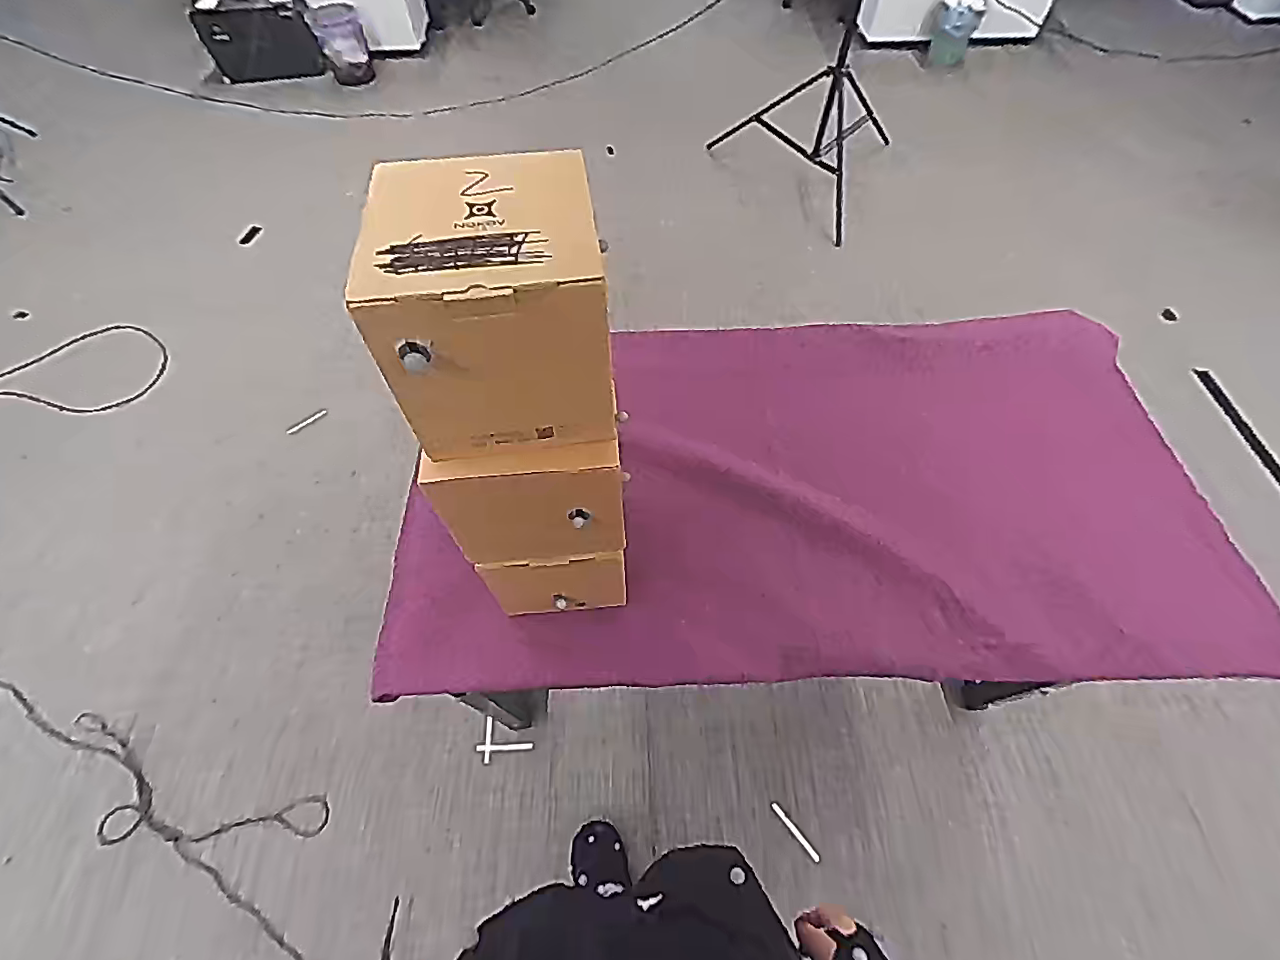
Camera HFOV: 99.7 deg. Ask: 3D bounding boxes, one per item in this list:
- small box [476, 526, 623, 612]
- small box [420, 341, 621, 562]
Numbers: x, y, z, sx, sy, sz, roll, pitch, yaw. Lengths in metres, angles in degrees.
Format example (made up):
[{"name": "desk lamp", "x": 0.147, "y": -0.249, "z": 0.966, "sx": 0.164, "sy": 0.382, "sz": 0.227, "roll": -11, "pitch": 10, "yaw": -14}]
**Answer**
[{"name": "small box", "x": -0.111, "y": 0.061, "z": 0.719, "sx": 0.168, "sy": 0.176, "sz": 0.179, "roll": -5, "pitch": 59, "yaw": -2}, {"name": "small box", "x": -0.113, "y": -0.025, "z": 0.582, "sx": 0.179, "sy": 0.176, "sz": 0.168, "roll": -6, "pitch": 57, "yaw": -3}]
